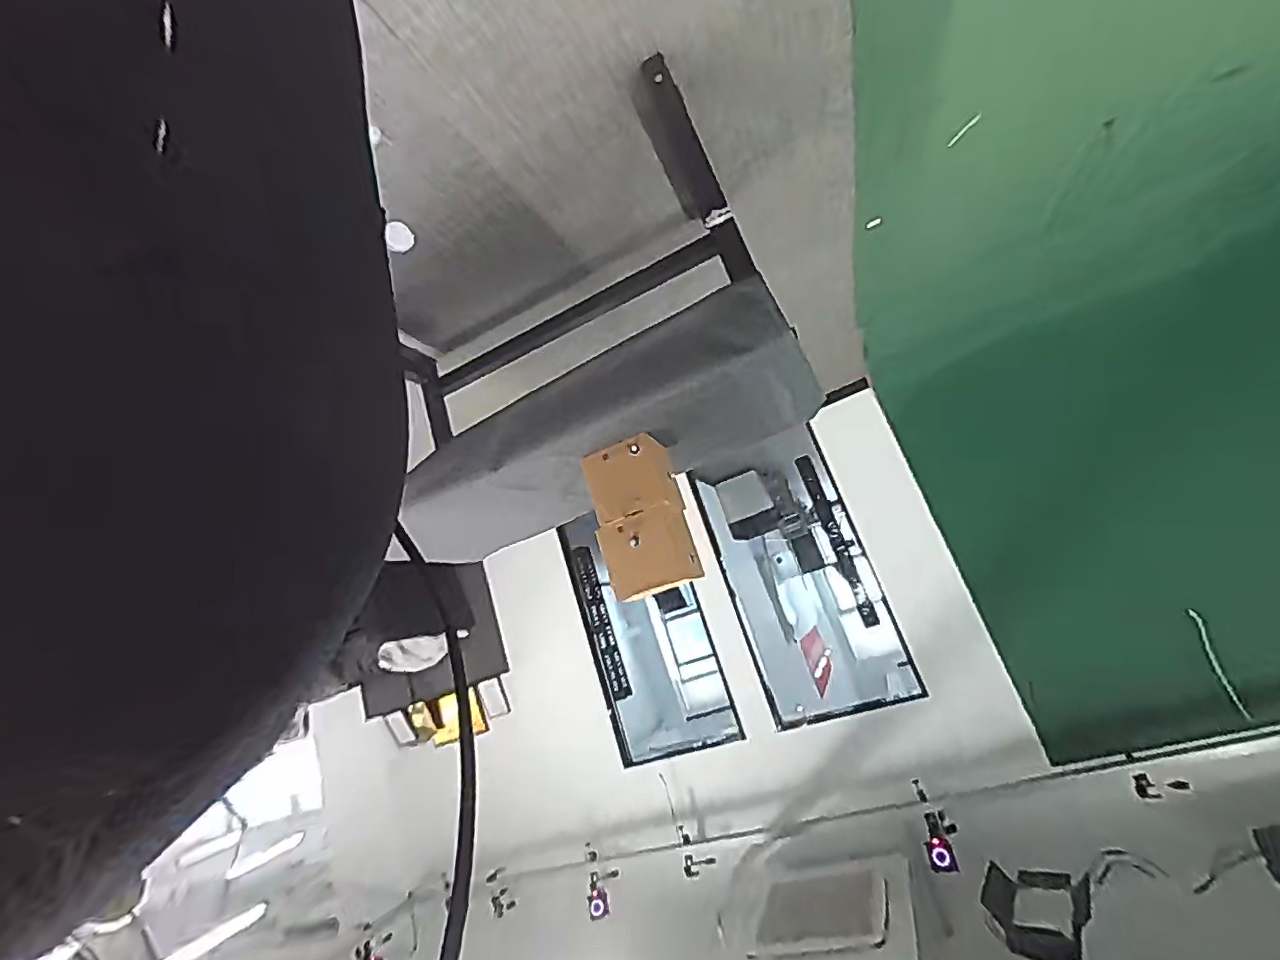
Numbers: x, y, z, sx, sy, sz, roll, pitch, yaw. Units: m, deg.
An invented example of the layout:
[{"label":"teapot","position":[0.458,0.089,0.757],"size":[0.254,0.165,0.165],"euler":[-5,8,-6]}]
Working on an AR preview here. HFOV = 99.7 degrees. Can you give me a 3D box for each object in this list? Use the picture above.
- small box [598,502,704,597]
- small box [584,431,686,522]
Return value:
[{"label":"small box","position":[0.028,0.157,1.237],"size":[0.168,0.176,0.179],"euler":[-23,165,17]},{"label":"small box","position":[-0.011,-0.002,1.265],"size":[0.168,0.176,0.179],"euler":[-22,166,14]}]
